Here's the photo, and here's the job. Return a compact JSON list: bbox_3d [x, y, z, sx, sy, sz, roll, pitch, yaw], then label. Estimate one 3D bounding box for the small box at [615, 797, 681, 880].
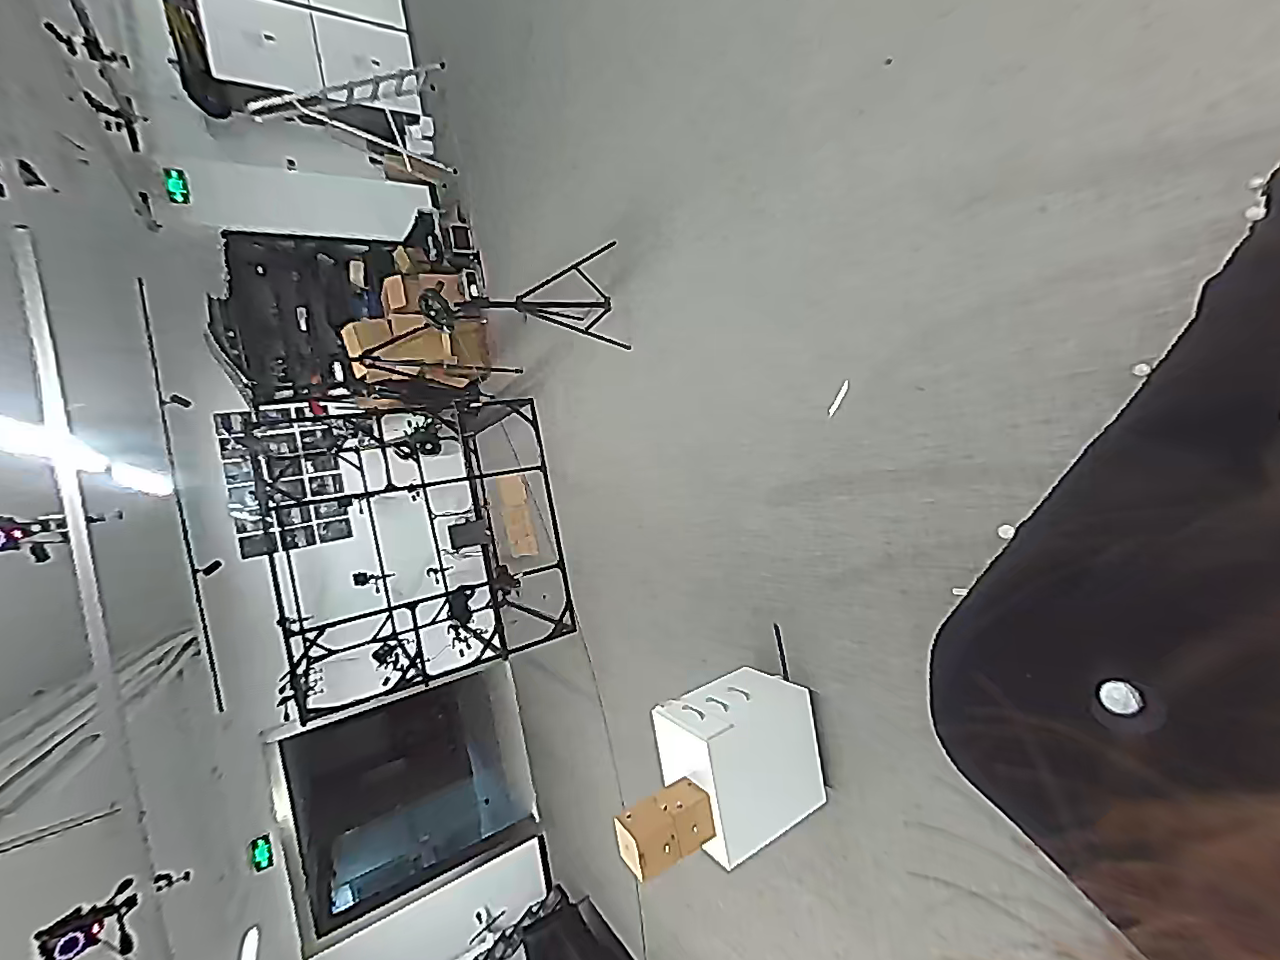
[{"bbox_3d":[0.030,1.328,2.022,0.179,0.176,0.168,-1,100,60],"label":"small box"}]
